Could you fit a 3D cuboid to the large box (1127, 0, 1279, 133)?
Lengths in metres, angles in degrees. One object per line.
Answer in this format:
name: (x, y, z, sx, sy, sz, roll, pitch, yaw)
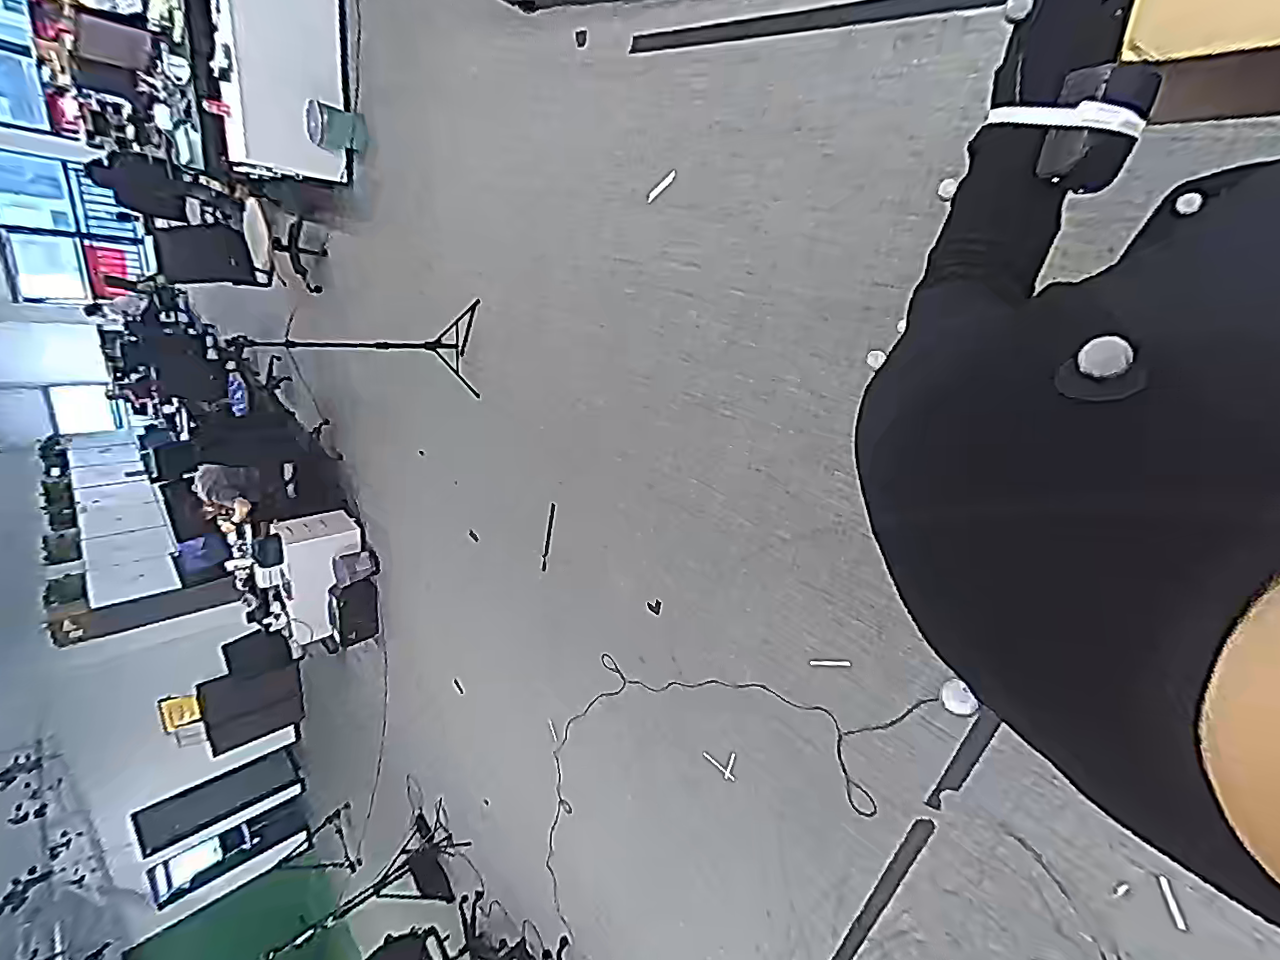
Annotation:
large box: (0.554, -0.397, 0.273, 0.408, 0.320, 0.320, 19, 122, 36)
